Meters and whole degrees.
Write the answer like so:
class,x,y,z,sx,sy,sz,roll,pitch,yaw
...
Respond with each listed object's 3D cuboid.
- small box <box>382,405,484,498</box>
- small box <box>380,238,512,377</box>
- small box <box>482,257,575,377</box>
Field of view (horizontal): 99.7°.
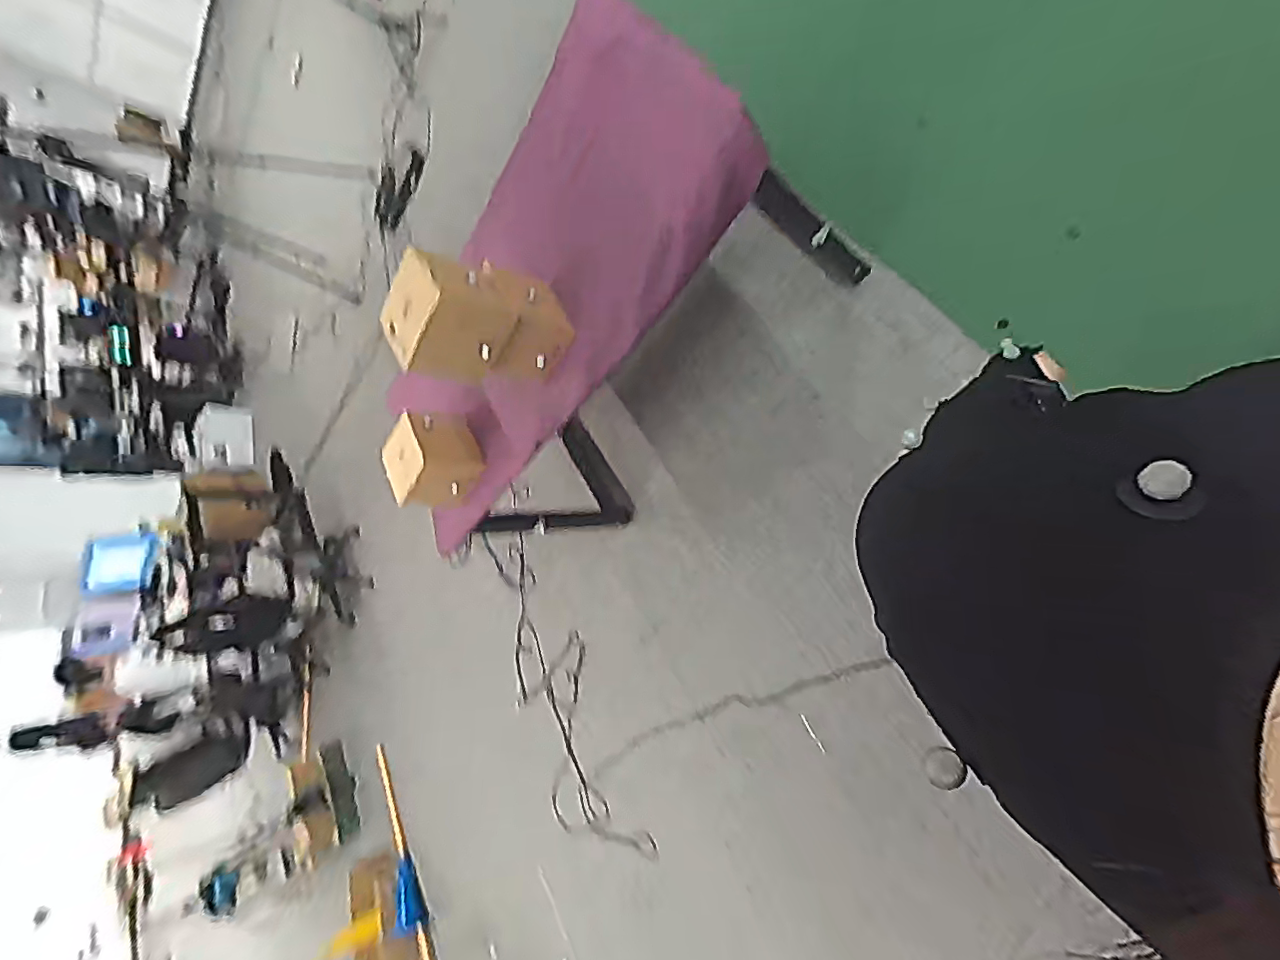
class,x,y,z,sx,sy,sz,roll,pitch,yaw
small box,-0.533,-0.065,1.398,0.168,0.176,0.179,-48,59,29
small box,-0.373,-0.328,1.061,0.179,0.176,0.168,-49,60,28
small box,-0.276,-0.349,1.193,0.168,0.176,0.179,-46,61,30
